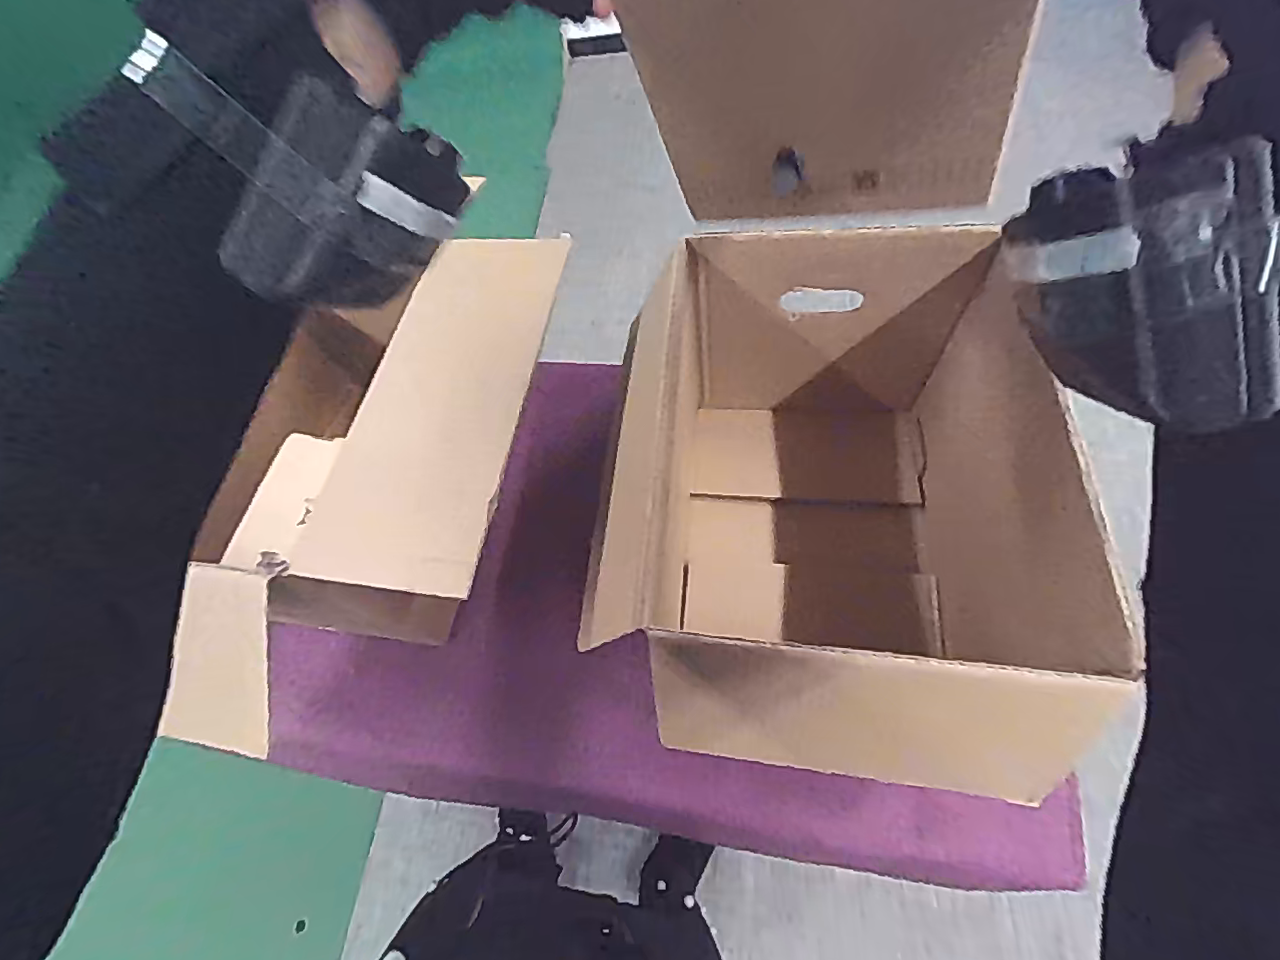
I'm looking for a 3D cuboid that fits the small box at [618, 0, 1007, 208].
[{"bbox_3d":[0.092,-0.269,0.266,0.168,0.176,0.179,9,77,26],"label":"small box"}]
